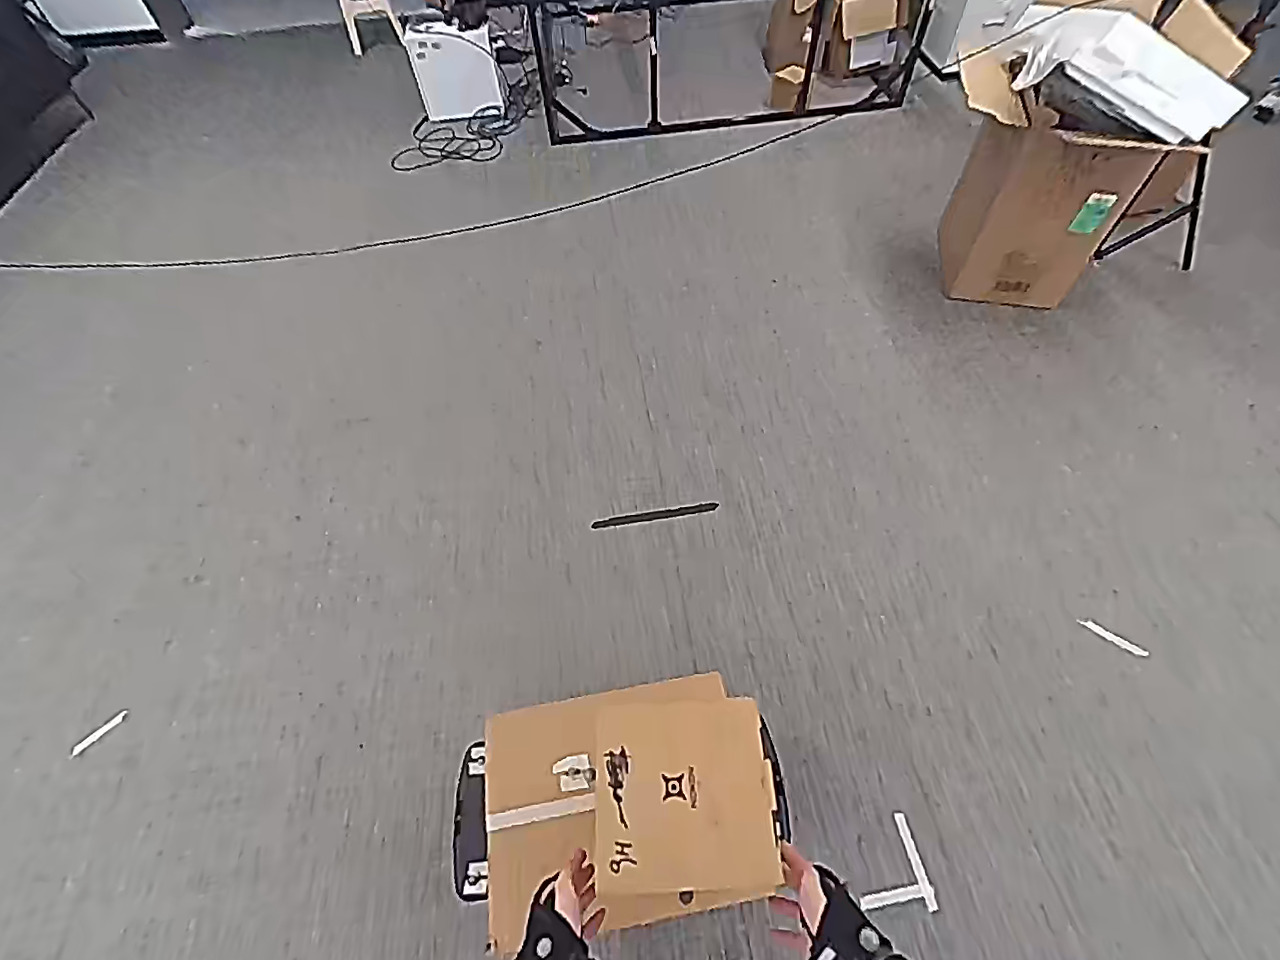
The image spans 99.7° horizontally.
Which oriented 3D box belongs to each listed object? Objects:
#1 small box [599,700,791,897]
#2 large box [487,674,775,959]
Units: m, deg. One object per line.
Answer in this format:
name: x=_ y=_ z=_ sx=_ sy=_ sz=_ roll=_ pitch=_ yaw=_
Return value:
small box: x=0.049 y=0.347 z=0.594 sx=0.179 sy=0.176 sz=0.168 roll=-3 pitch=55 yaw=0
large box: x=-0.019 y=0.569 z=0.941 sx=0.408 sy=0.320 sz=0.320 roll=-11 pitch=55 yaw=-3
